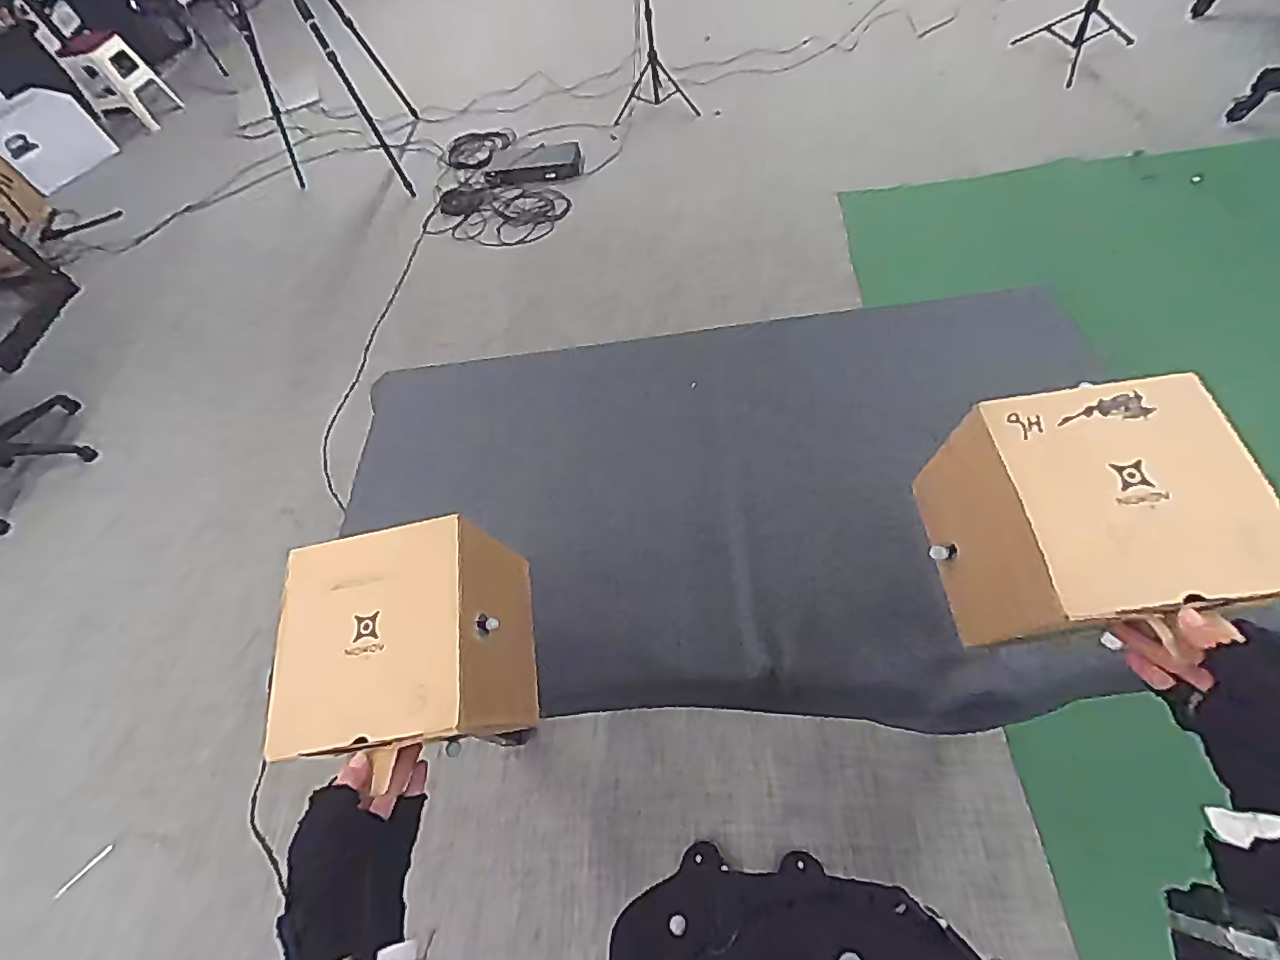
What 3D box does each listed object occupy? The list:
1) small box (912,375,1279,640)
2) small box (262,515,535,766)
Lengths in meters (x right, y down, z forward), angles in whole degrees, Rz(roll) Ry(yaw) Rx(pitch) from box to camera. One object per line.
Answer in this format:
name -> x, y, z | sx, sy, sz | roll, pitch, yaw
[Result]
small box -> 0.365, 0.038, 0.466 | 0.168, 0.176, 0.179 | -8, 67, 4
small box -> -0.207, 0.154, 0.510 | 0.168, 0.176, 0.179 | -13, 64, 6
